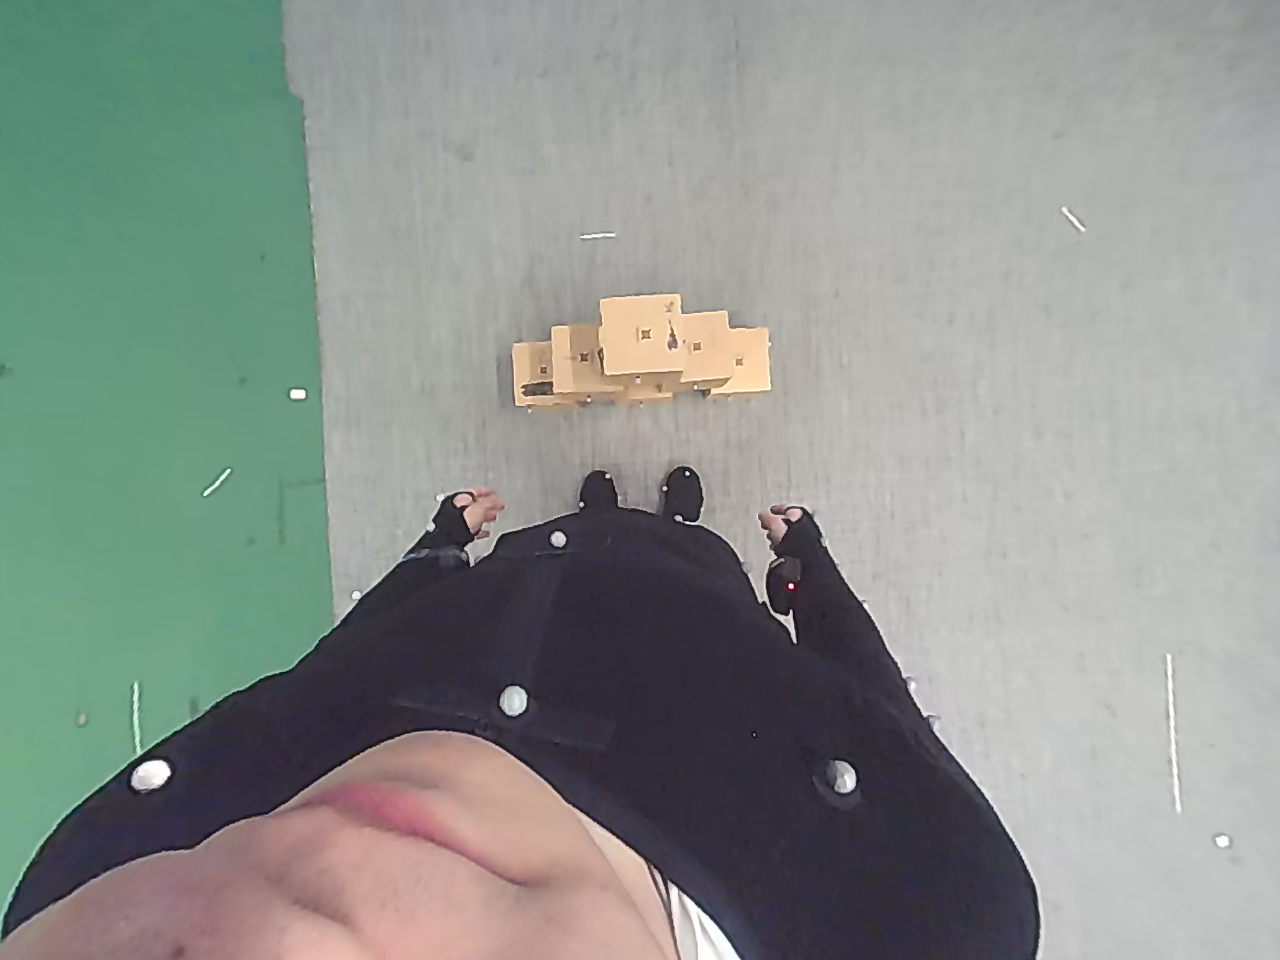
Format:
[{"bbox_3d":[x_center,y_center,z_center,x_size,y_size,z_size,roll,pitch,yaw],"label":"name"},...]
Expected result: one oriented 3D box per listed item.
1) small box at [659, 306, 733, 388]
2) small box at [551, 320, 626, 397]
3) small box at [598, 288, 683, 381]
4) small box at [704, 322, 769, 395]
[{"bbox_3d":[0.132,-0.334,1.385,0.179,0.176,0.168,-5,92,-1],"label":"small box"},{"bbox_3d":[-0.126,-0.307,1.388,0.179,0.176,0.168,-2,91,2],"label":"small box"},{"bbox_3d":[0.005,-0.321,1.222,0.179,0.176,0.168,-3,92,1],"label":"small box"},{"bbox_3d":[0.270,-0.339,1.546,0.168,0.176,0.179,-3,91,1],"label":"small box"}]
